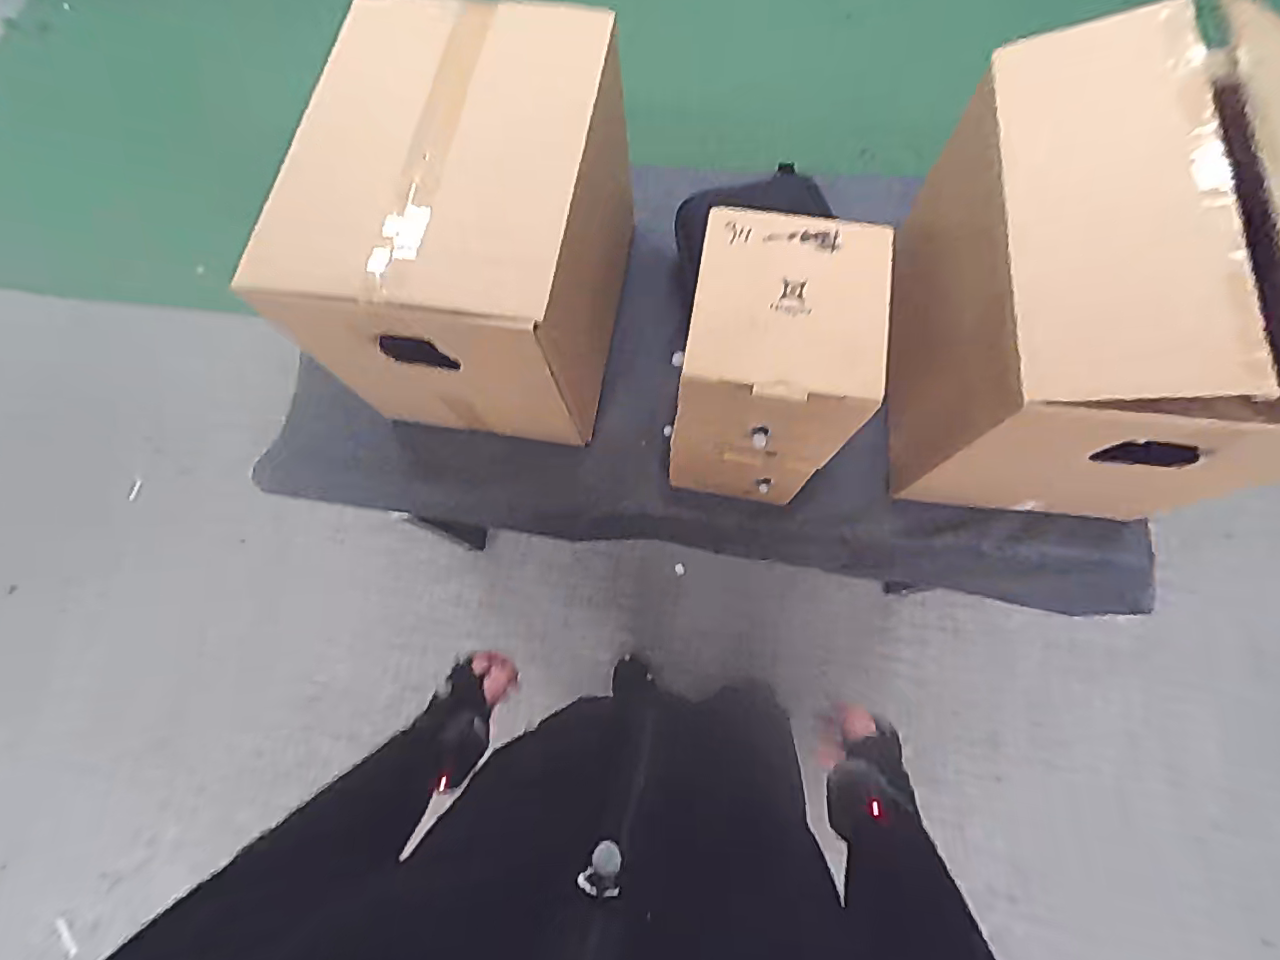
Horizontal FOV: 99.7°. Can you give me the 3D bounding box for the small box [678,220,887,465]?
[{"bbox_3d":[0.132,-0.126,0.550,0.168,0.176,0.179,9,75,5],"label":"small box"}]
